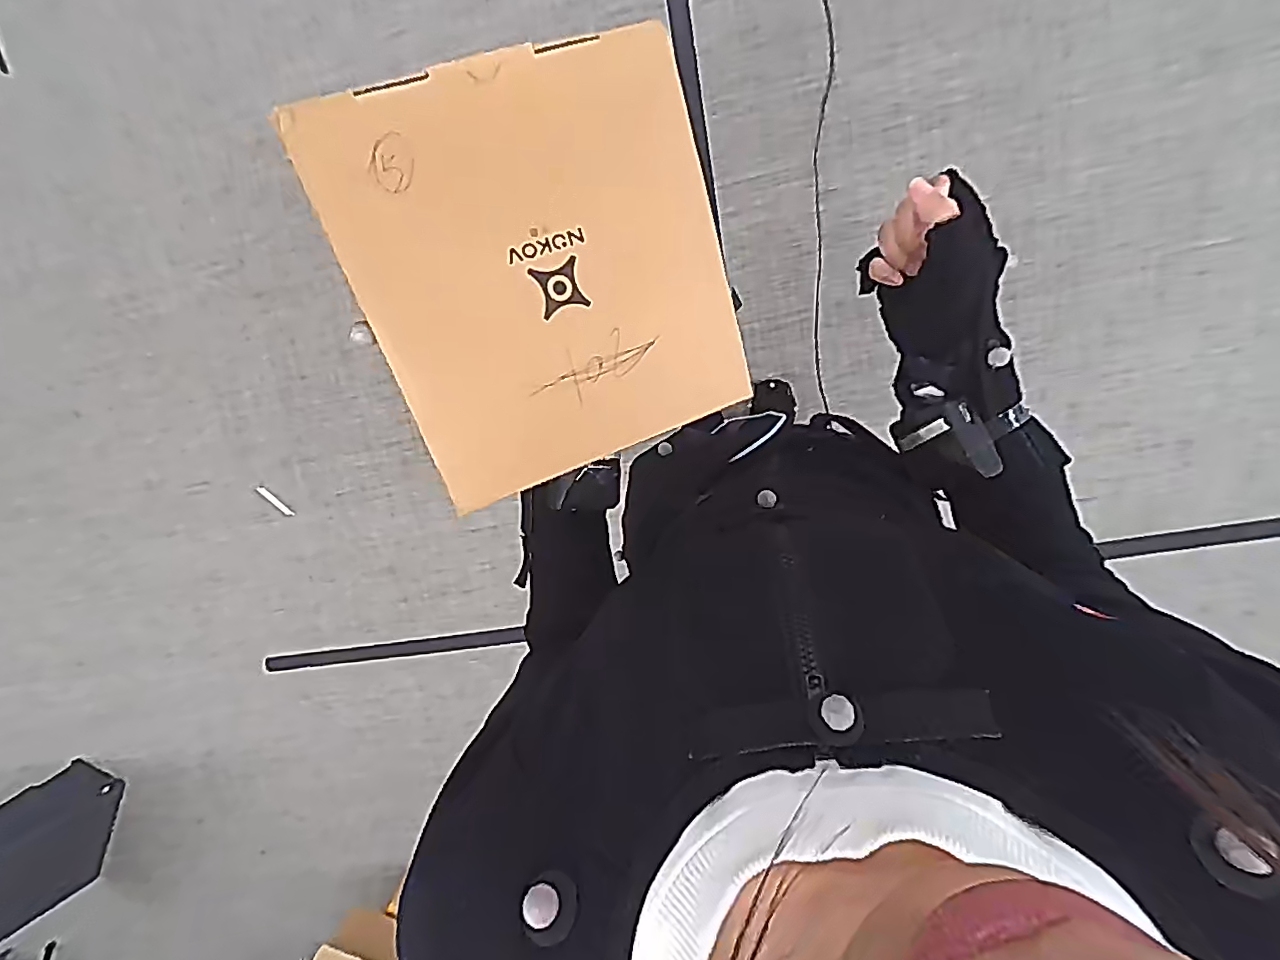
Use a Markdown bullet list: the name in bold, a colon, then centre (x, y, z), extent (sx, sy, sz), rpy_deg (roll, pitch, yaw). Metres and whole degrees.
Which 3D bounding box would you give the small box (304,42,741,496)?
- **small box**: centre (-0.065, -0.115, 0.334), extent (0.168, 0.176, 0.179), rpy_deg (-22, 110, -12)
